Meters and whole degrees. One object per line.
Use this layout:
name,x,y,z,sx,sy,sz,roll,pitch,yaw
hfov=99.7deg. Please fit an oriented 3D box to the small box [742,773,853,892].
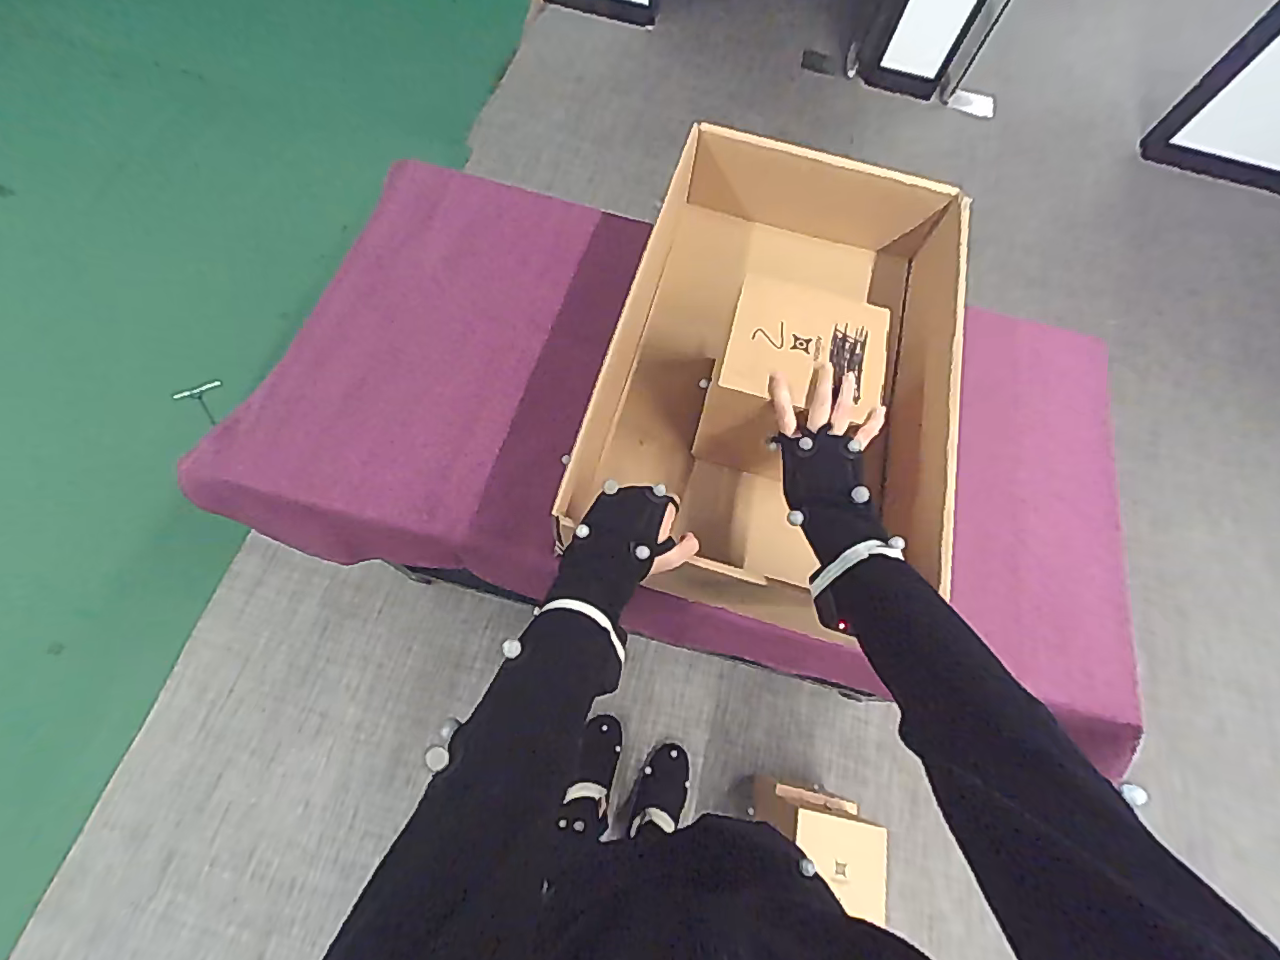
small box,0.338,0.755,1.177,0.179,0.176,0.168,14,68,1
